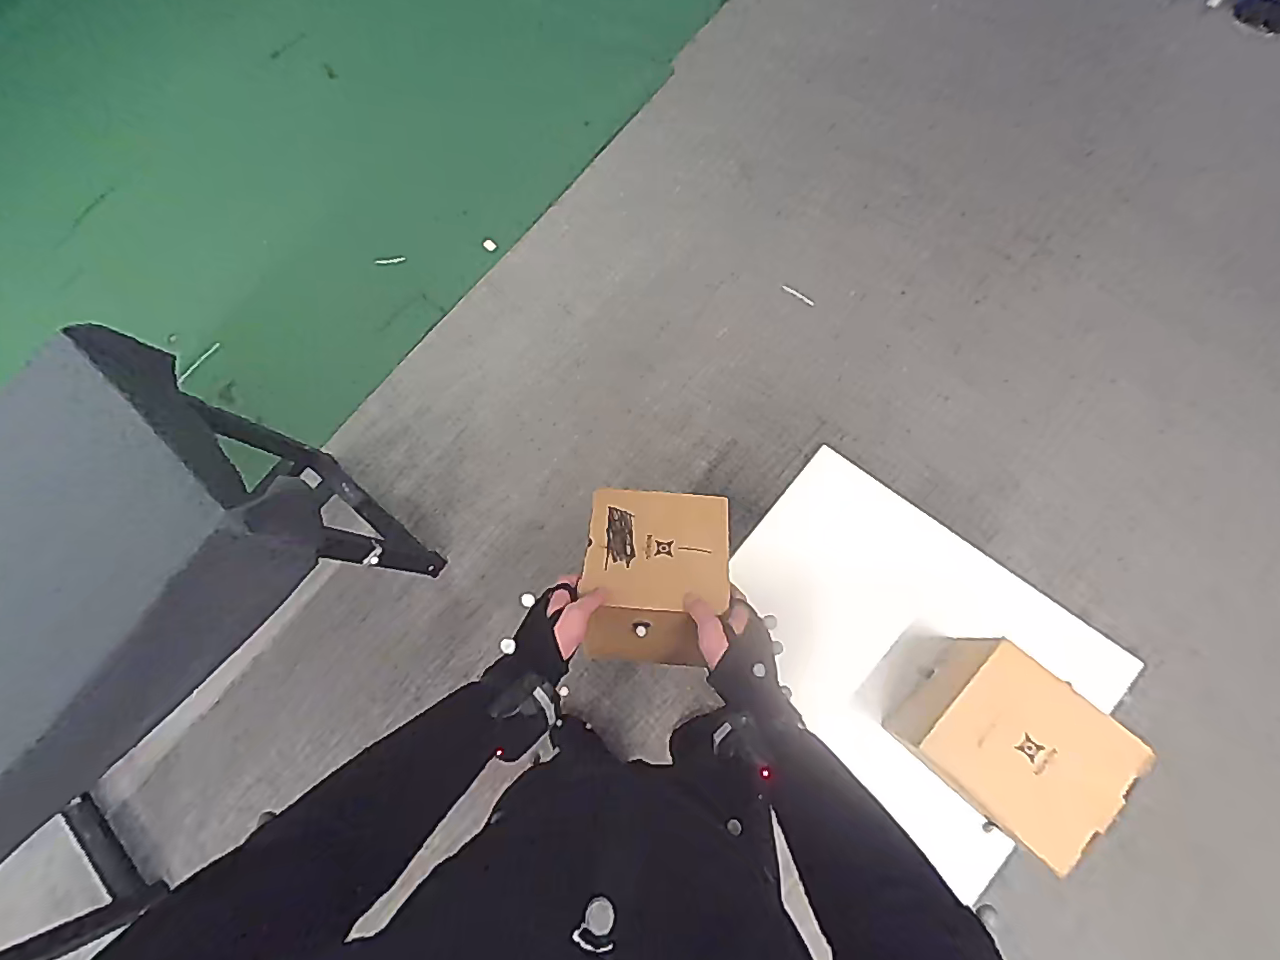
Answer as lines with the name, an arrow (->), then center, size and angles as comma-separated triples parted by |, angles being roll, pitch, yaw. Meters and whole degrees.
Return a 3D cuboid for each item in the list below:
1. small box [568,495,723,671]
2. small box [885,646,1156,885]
small box -> 0.012, 0.138, 0.707 | 0.179, 0.176, 0.168 | 4, 52, 2
small box -> 0.432, 0.319, 0.651 | 0.179, 0.176, 0.168 | 40, 83, 20
